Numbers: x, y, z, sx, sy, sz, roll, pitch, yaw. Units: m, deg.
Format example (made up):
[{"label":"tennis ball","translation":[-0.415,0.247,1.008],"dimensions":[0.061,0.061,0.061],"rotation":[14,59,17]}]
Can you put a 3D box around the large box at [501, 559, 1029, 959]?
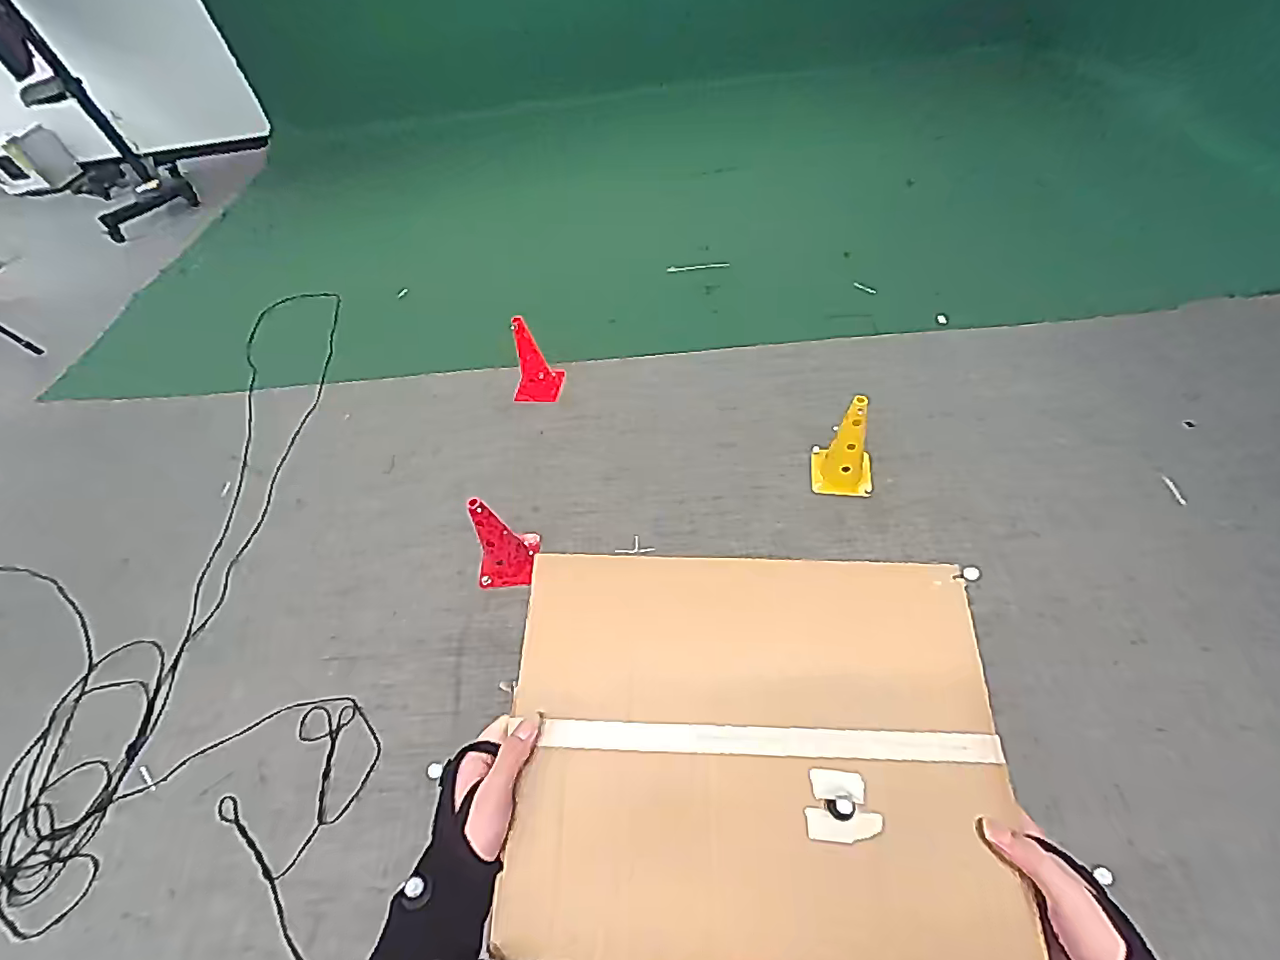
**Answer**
[{"label":"large box","translation":[0.095,0.283,0.600],"dimensions":[0.408,0.320,0.320],"rotation":[1,66,2]}]

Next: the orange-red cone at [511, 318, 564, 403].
[{"label":"orange-red cone","translation":[-0.467,-0.514,2.244],"dimensions":[0.199,0.360,0.198],"rotation":[2,53,11]}]
